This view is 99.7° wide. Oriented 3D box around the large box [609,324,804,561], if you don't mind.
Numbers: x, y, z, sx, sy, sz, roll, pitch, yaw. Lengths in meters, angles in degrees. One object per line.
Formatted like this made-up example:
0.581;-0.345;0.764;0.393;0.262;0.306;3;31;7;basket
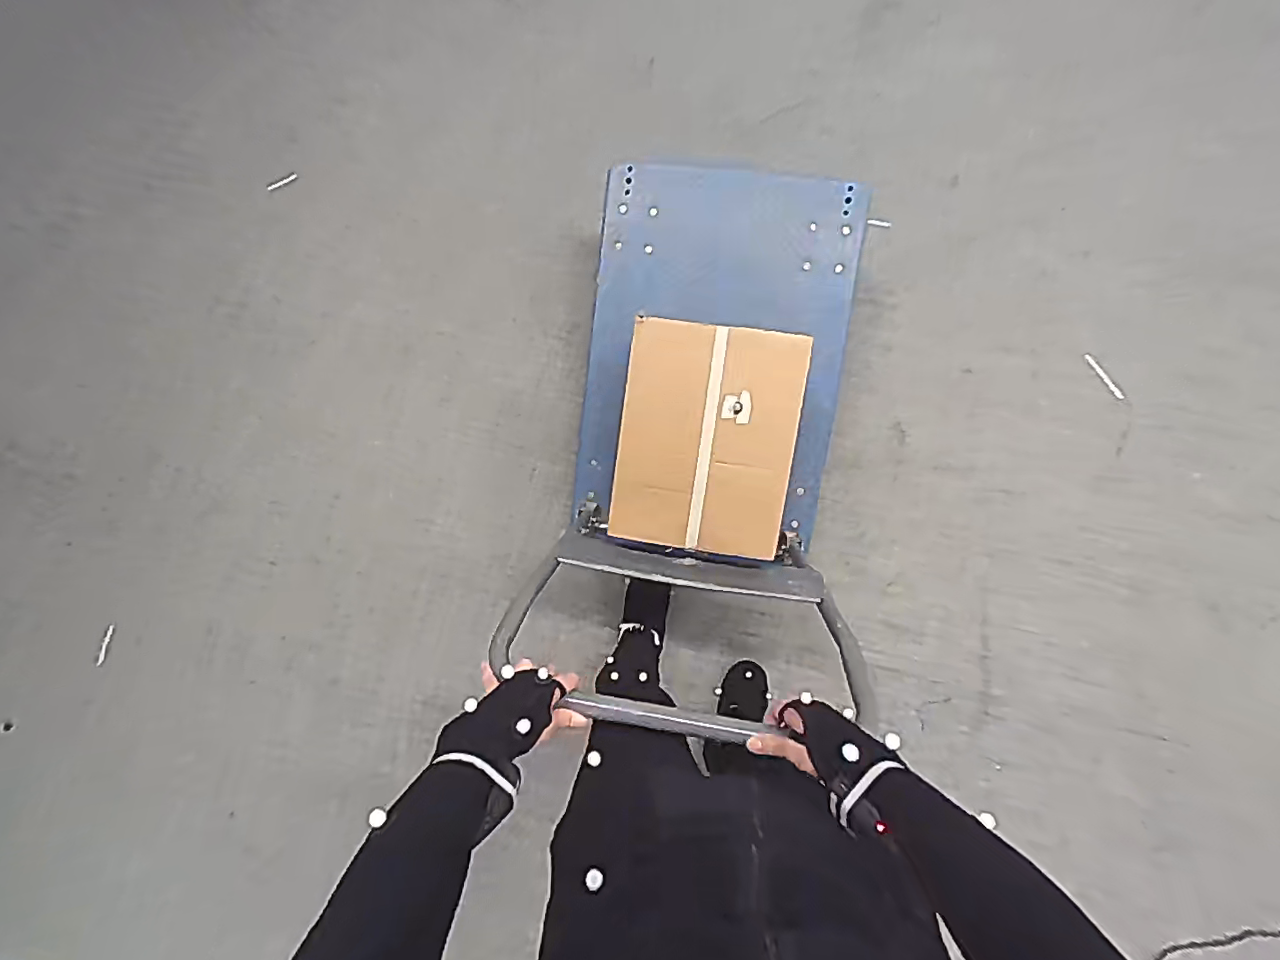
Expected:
0.132;-0.081;1.118;0.320;0.320;0.408;8;98;5;large box
